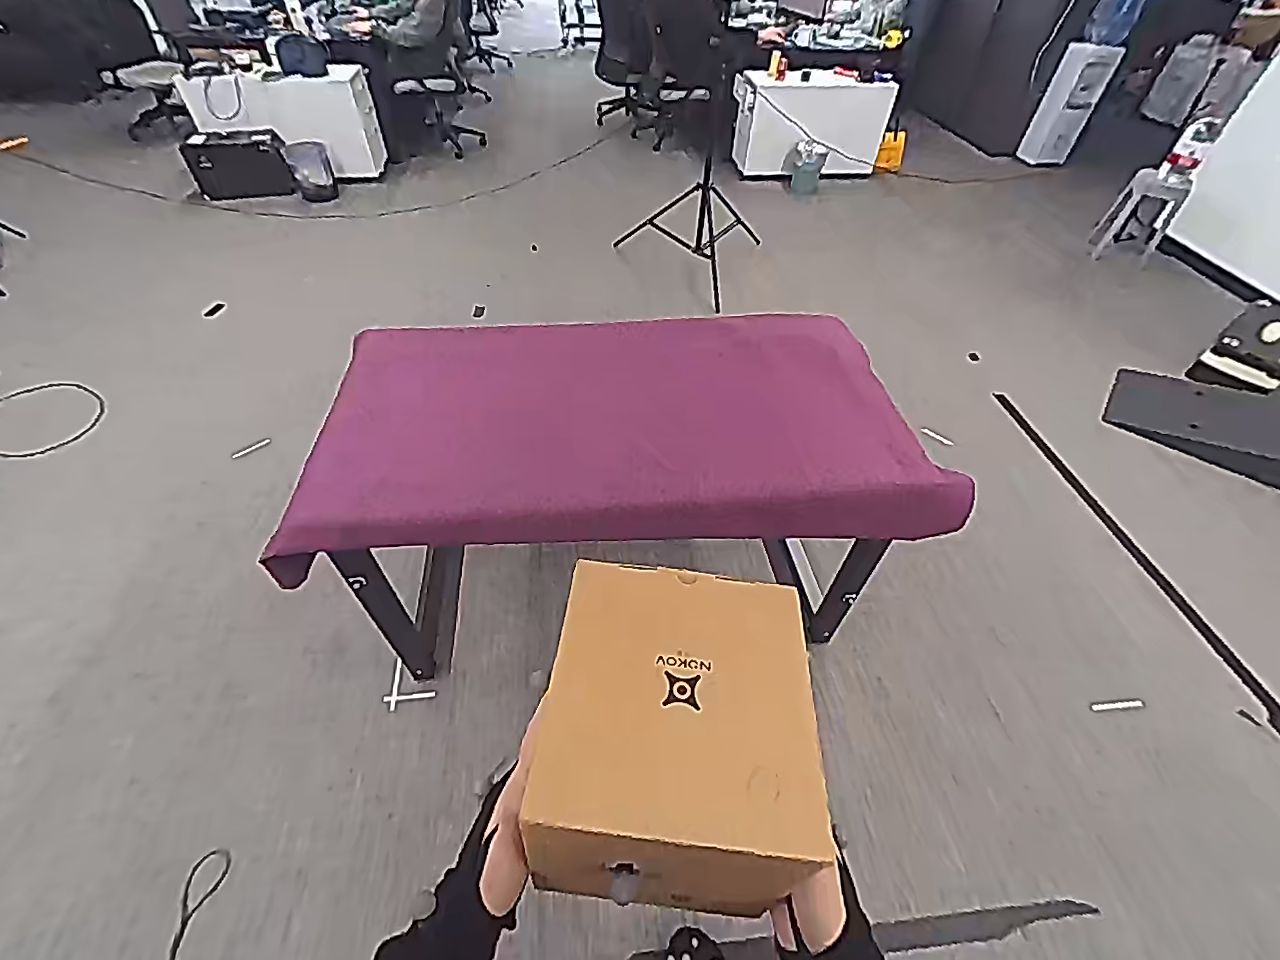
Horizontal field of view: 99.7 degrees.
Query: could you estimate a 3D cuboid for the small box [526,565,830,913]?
[{"bbox_3d":[0.022,0.191,0.399,0.168,0.176,0.179,7,42,1],"label":"small box"}]
